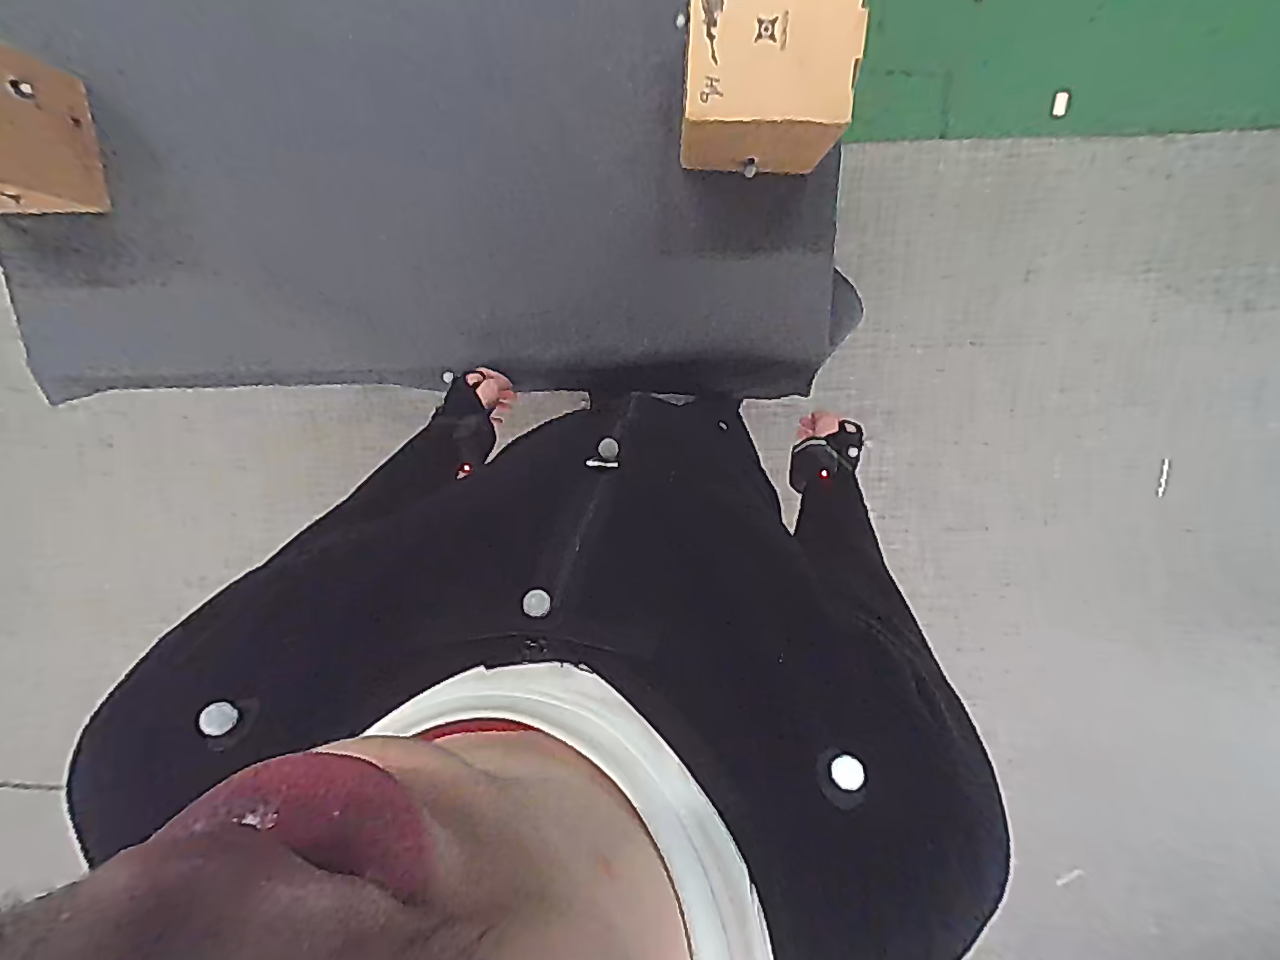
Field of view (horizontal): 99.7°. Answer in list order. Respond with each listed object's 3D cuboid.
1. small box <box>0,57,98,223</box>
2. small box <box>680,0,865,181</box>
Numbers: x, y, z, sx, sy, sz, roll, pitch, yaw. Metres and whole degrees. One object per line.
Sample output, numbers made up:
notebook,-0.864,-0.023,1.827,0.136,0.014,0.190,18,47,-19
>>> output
small box,-0.836,-0.430,0.672,0.179,0.176,0.168,2,101,2
small box,0.143,-0.469,0.640,0.179,0.176,0.168,3,104,2
